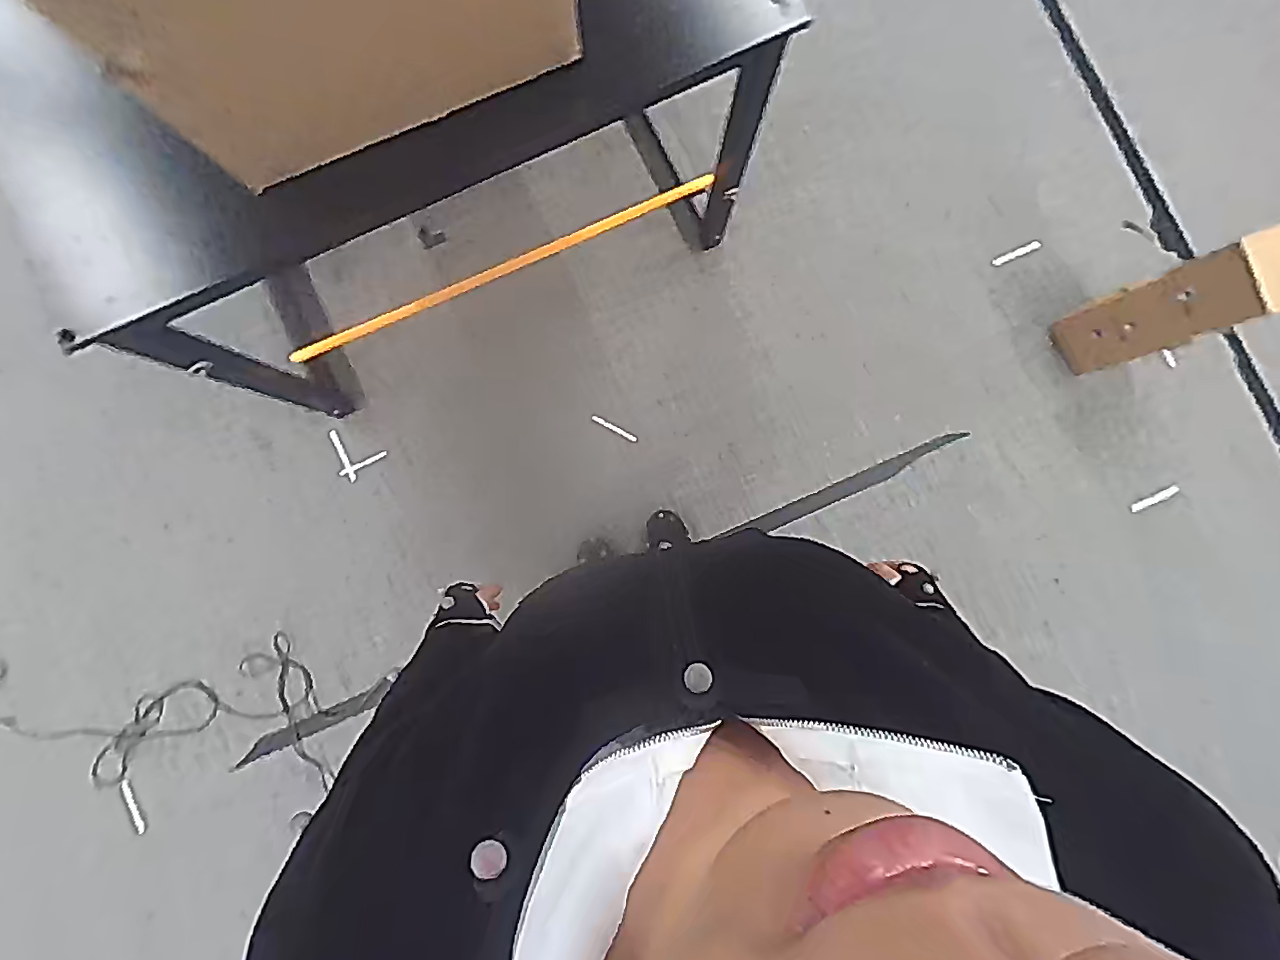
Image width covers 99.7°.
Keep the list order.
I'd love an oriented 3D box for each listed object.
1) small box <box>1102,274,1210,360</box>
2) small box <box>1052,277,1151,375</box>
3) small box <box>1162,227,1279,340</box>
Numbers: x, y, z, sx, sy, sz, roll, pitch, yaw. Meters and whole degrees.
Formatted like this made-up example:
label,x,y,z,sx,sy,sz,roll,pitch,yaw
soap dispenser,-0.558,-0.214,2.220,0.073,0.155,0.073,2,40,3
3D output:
label,x,y,z,sx,sy,sz,roll,pitch,yaw
small box,1.285,-0.413,1.302,0.179,0.176,0.168,-25,88,-2
small box,1.280,-0.409,1.466,0.168,0.176,0.179,-29,89,-2
small box,1.282,-0.419,1.139,0.179,0.176,0.168,-20,87,-1
